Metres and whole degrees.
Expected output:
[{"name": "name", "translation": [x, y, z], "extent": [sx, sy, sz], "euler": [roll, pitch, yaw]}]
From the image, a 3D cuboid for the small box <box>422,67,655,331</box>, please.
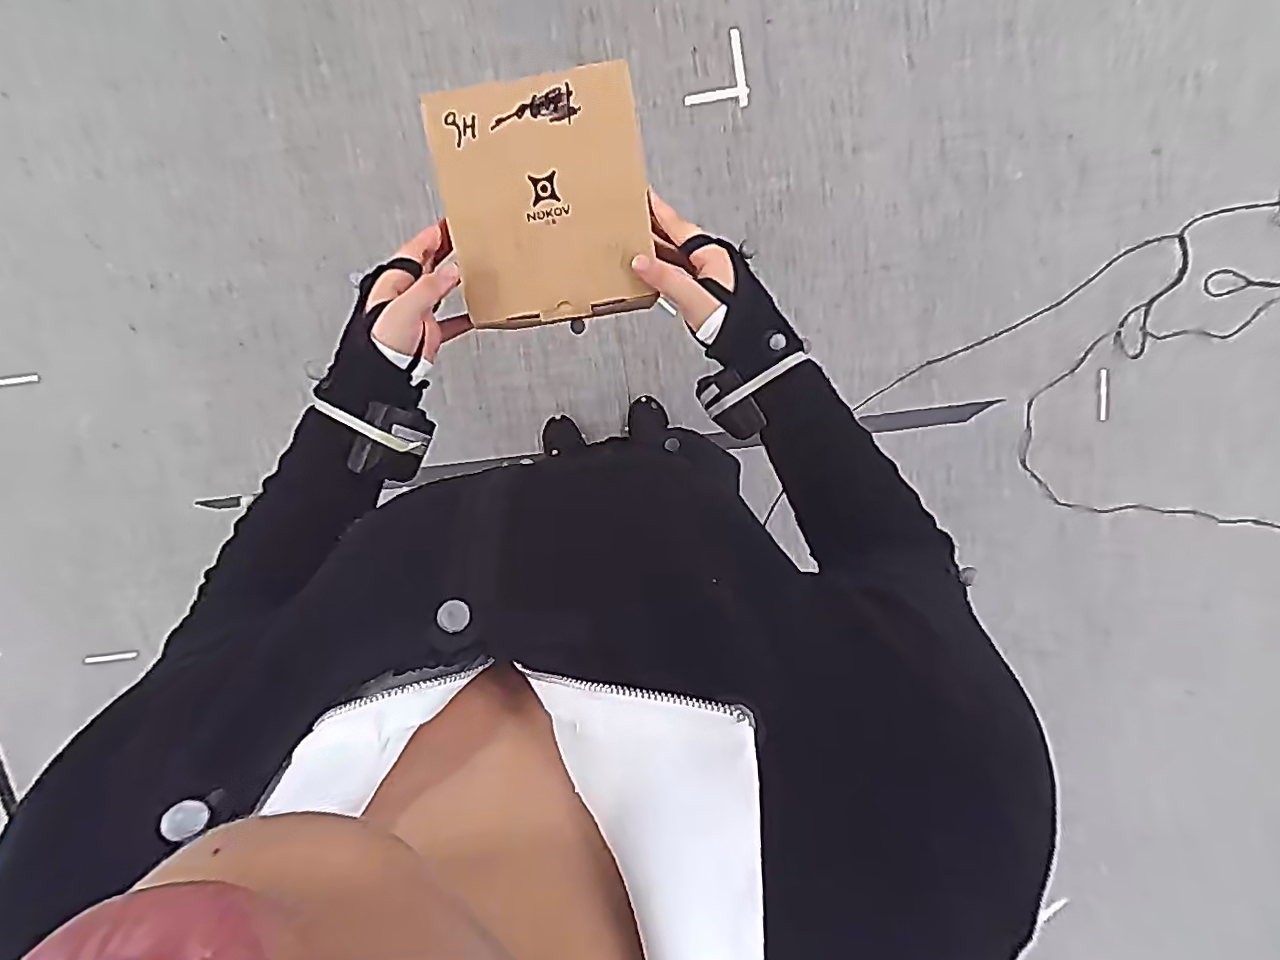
[{"name": "small box", "translation": [-0.077, -0.246, 0.516], "extent": [0.168, 0.176, 0.179], "euler": [-9, 106, 2]}]
